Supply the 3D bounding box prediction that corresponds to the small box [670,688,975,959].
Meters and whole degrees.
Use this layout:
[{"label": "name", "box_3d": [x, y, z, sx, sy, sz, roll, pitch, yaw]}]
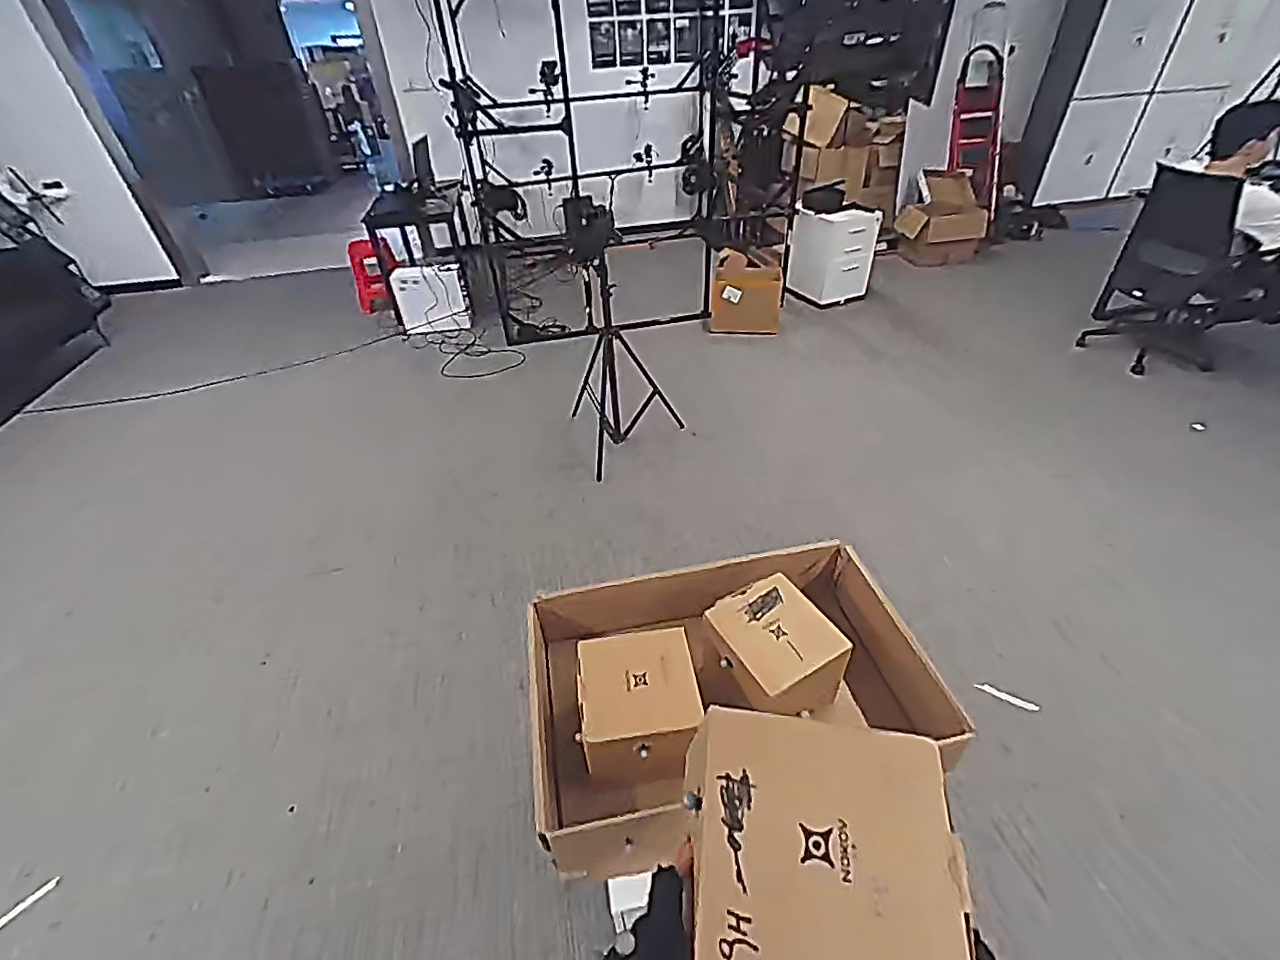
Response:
[{"label": "small box", "box_3d": [0.125, 0.286, 0.435, 0.179, 0.176, 0.168, 8, 53, 3]}]
